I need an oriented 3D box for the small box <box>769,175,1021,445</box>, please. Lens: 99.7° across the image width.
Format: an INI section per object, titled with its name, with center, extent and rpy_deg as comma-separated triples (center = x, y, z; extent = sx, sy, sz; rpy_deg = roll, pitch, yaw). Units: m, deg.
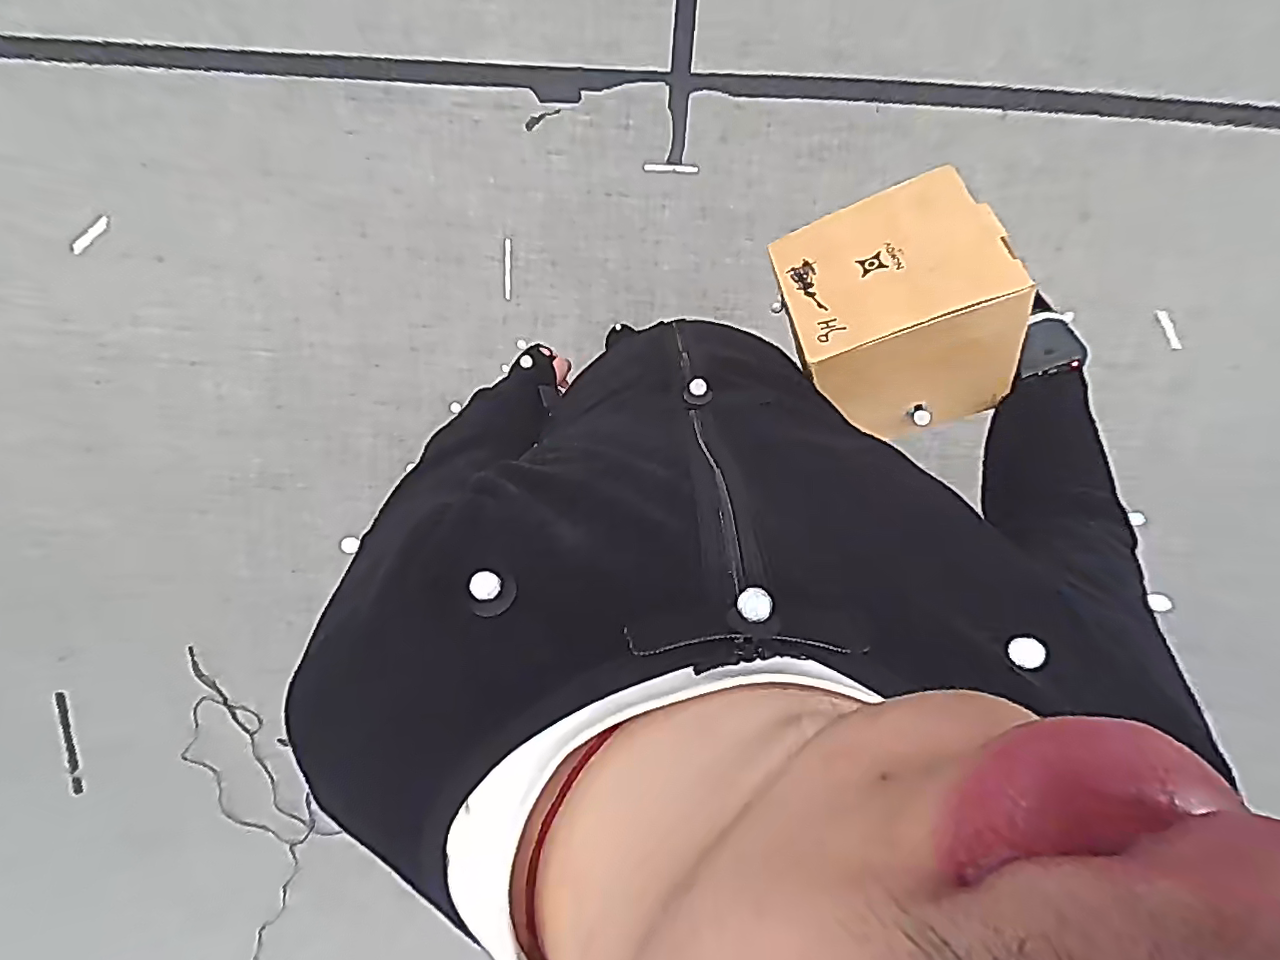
[small box]
center = 0.252, -0.162, 0.562
extent = 0.179, 0.168, 0.176
rpy_deg = -18, 147, 18
